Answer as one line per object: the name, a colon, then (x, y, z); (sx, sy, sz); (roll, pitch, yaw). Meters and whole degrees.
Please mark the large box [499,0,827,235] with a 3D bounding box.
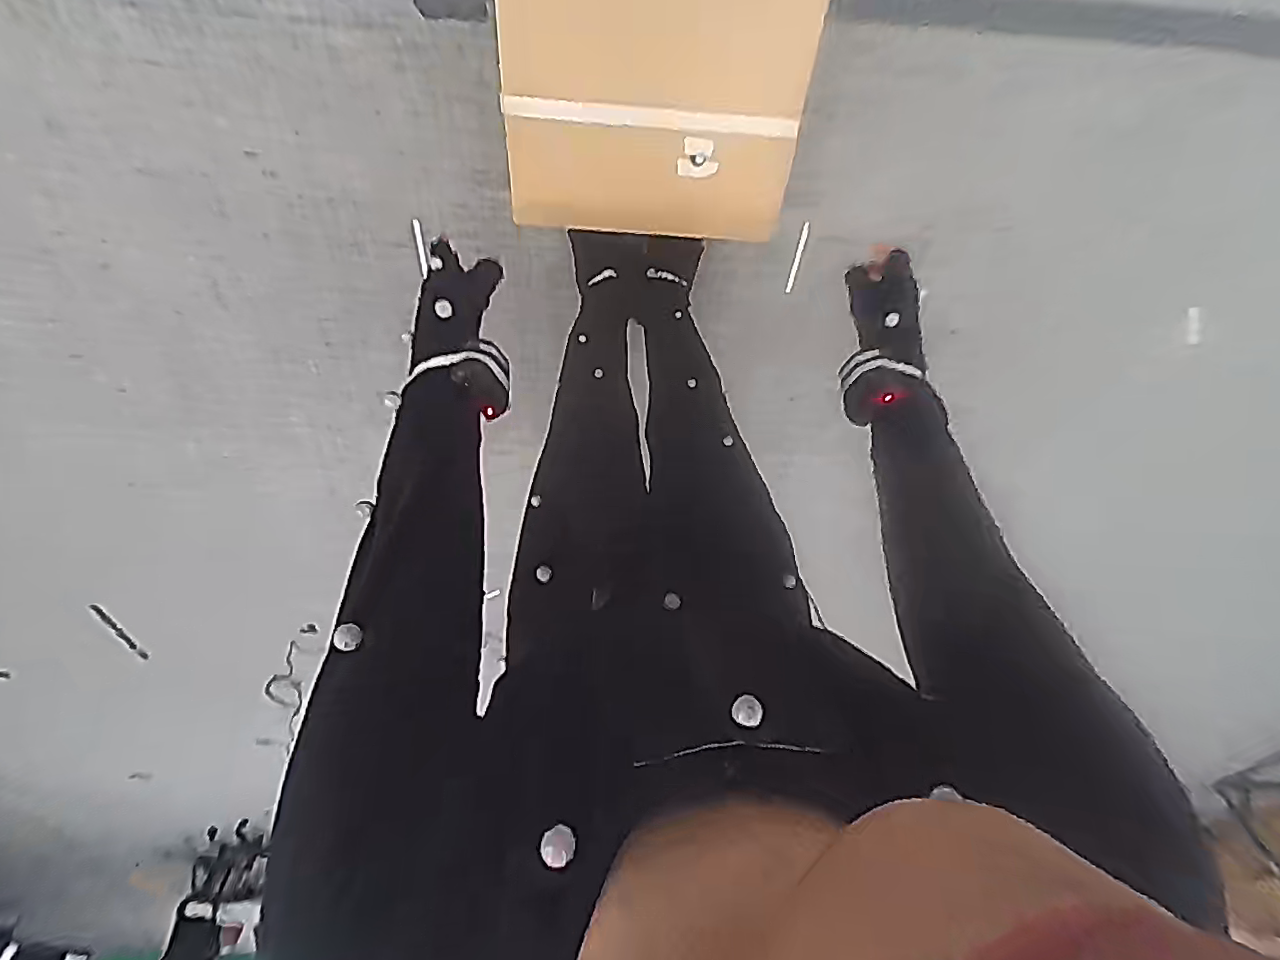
large box: (0.015, -0.598, 0.837); (0.408, 0.320, 0.320); (1, 134, -5)
